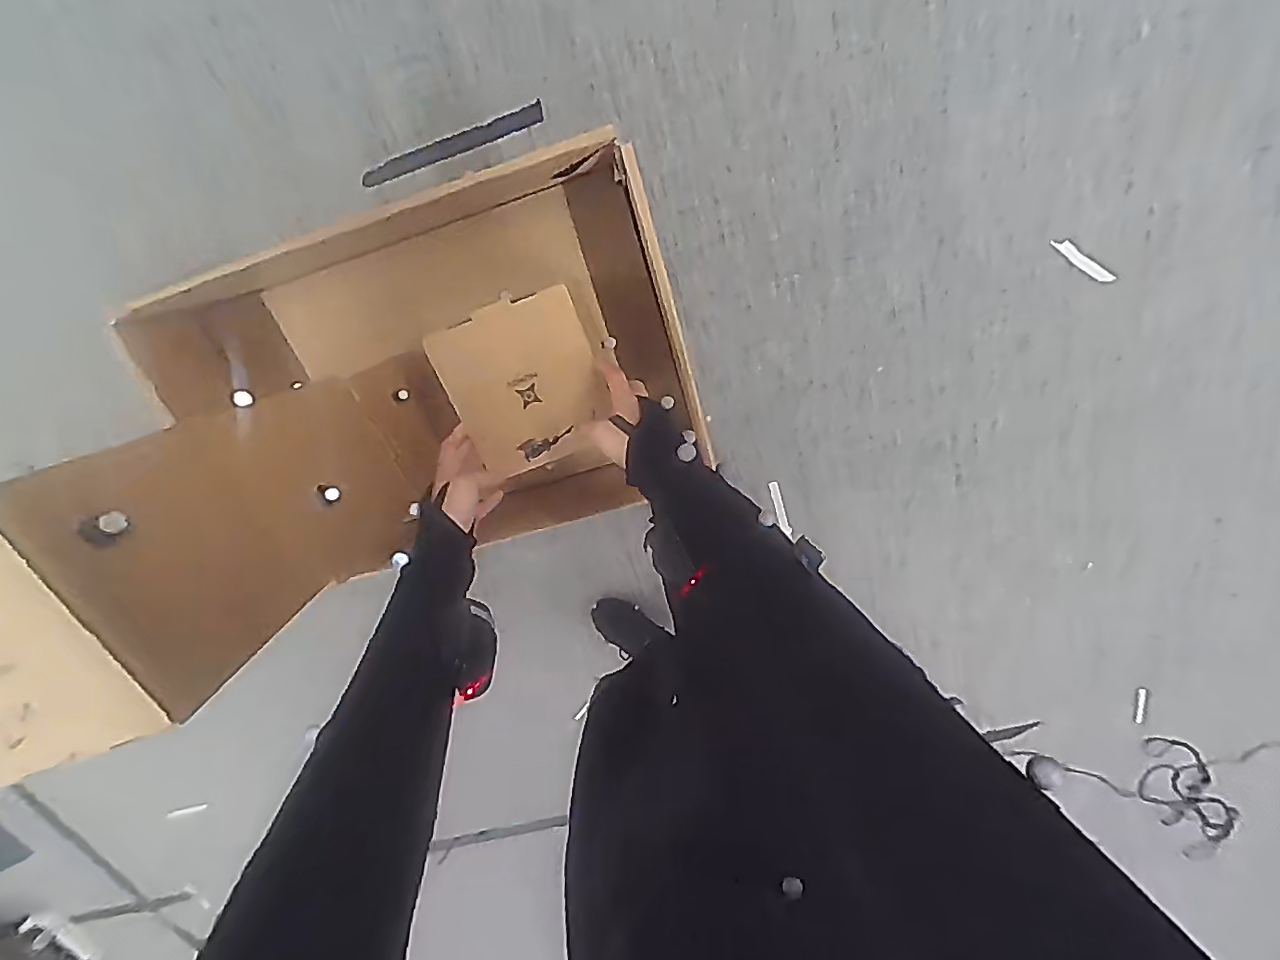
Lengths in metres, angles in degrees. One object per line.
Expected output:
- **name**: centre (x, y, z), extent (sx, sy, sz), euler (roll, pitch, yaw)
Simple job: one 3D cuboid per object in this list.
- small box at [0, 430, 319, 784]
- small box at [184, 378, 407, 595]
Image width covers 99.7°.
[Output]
- **small box**: centre (-0.393, 0.076, 0.401), extent (0.168, 0.176, 0.179), euler (-20, 110, 10)
- **small box**: centre (-0.376, 0.015, 0.554), extent (0.168, 0.176, 0.179), euler (-19, 110, 9)
